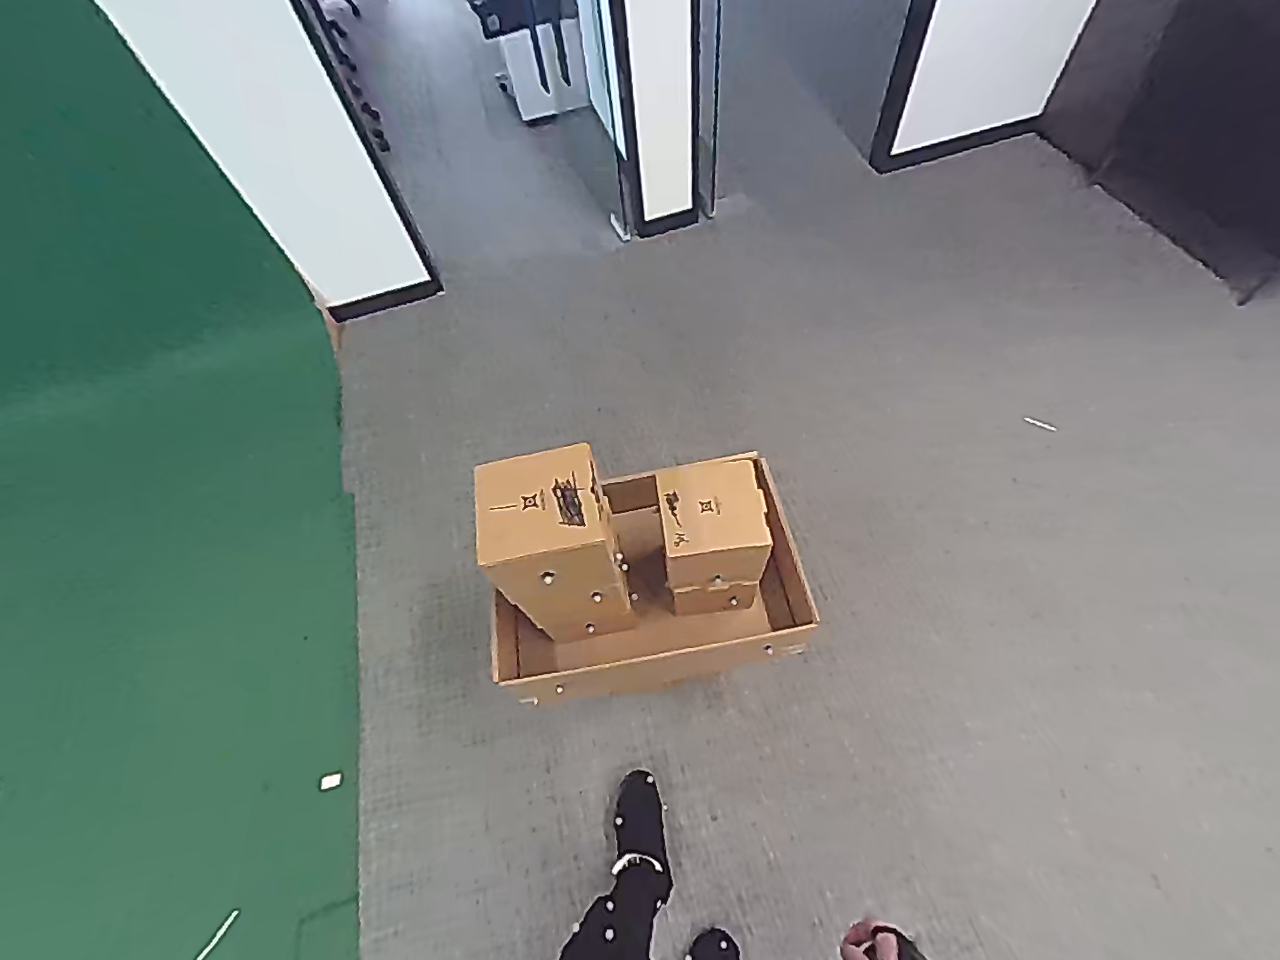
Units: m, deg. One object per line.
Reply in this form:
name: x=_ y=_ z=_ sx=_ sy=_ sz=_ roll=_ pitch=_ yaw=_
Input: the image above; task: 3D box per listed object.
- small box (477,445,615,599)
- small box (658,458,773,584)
small box: x=-0.139 y=0.071 z=0.843 sx=0.179 sy=0.176 sz=0.168 roll=-12 pitch=60 yaw=0
small box: x=0.131 y=0.080 z=0.991 sx=0.179 sy=0.176 sz=0.168 roll=-8 pitch=60 yaw=2
